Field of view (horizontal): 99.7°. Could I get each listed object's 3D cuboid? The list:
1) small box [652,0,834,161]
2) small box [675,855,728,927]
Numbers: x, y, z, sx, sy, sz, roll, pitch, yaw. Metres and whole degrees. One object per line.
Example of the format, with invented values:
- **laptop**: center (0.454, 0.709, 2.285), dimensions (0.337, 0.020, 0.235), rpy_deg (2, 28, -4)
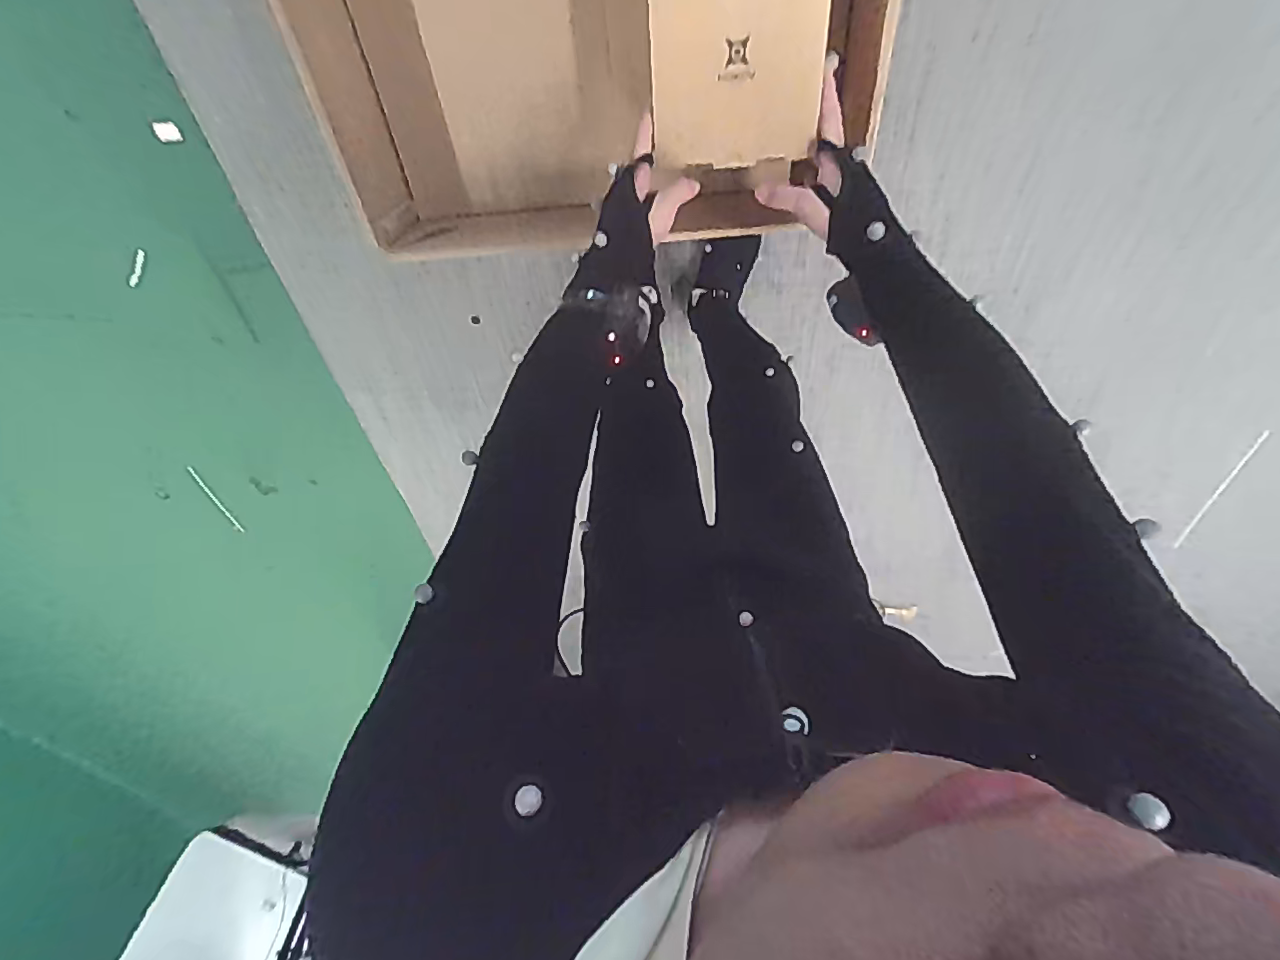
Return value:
- **small box**: center (0.103, -0.446, 0.570), dimensions (0.168, 0.176, 0.179), rpy_deg (1, 124, 9)
- **small box**: center (0.208, 1.383, 1.822), dimensions (0.168, 0.176, 0.179), rpy_deg (-4, 132, 7)
